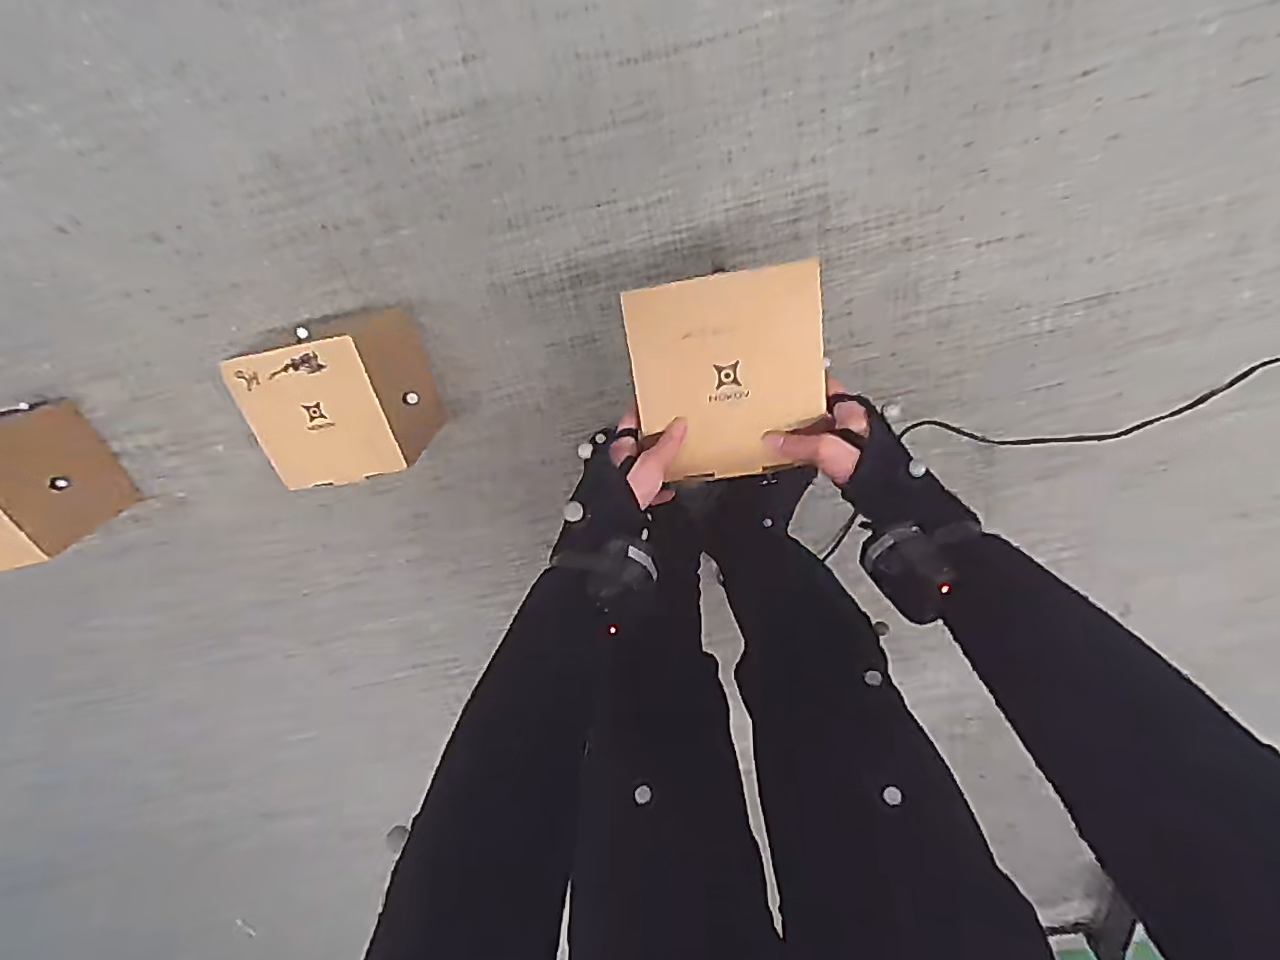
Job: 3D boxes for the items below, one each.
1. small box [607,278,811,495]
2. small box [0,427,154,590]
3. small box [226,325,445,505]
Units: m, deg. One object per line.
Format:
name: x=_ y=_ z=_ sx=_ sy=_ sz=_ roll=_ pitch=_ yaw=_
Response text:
small box: x=0.071 y=-0.104 z=0.564 sx=0.168 sy=0.176 sz=0.179 roll=-10 pitch=108 yaw=7
small box: x=-0.894 y=0.035 z=0.792 sx=0.168 sy=0.176 sz=0.179 roll=-13 pitch=119 yaw=6
small box: x=-0.390 y=-0.092 z=0.735 sx=0.168 sy=0.176 sz=0.179 roll=-10 pitch=118 yaw=5
